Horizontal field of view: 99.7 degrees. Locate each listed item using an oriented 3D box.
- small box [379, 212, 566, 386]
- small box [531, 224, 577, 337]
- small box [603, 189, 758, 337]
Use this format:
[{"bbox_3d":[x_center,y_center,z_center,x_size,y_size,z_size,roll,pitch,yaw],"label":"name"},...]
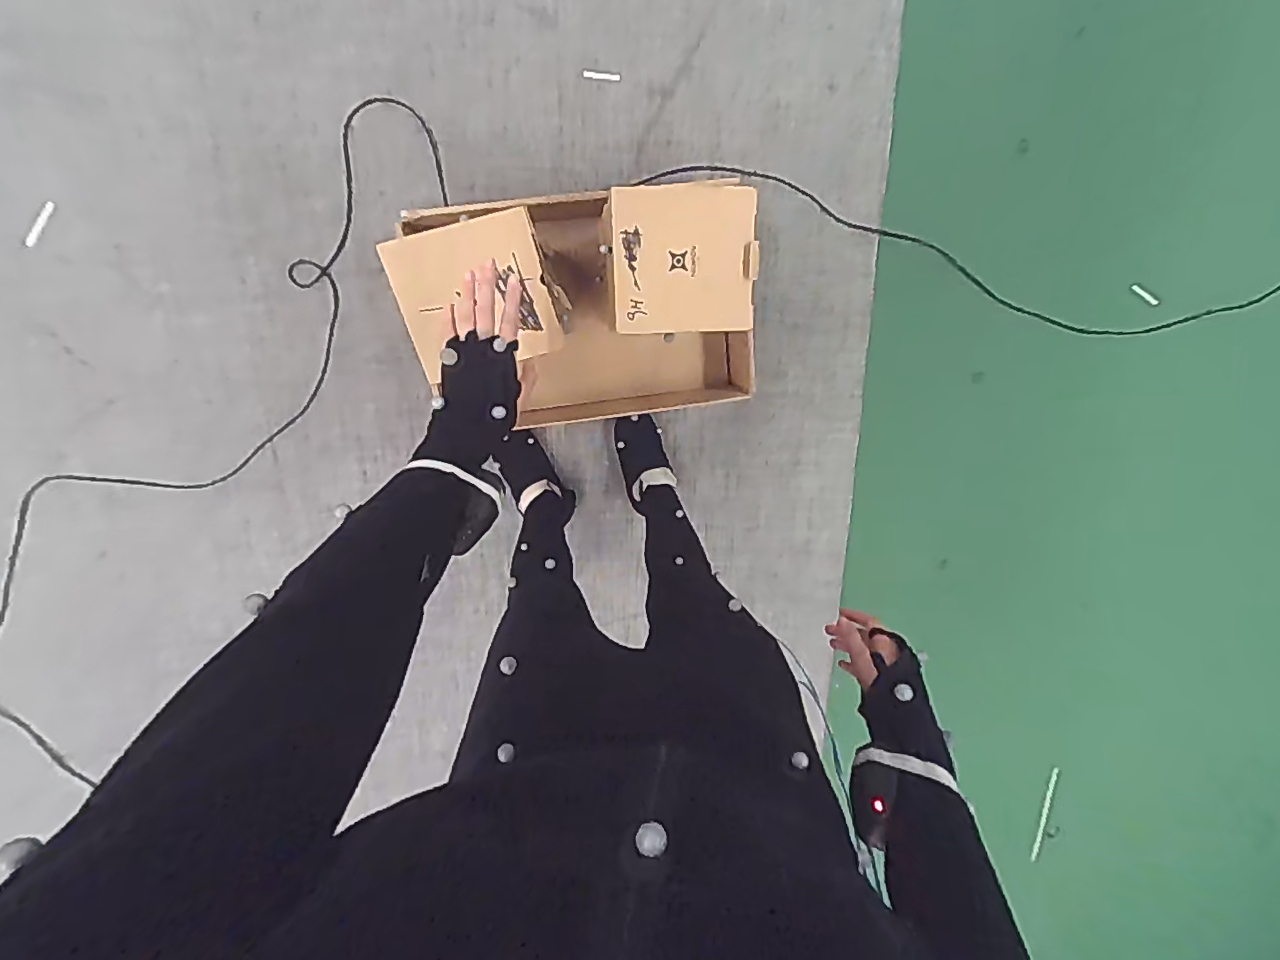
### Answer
[{"bbox_3d":[-0.205,-0.236,0.713,0.179,0.176,0.168,-16,109,-2],"label":"small box"},{"bbox_3d":[-0.215,-0.288,0.869,0.179,0.176,0.168,-23,109,0],"label":"small box"},{"bbox_3d":[0.044,-0.281,0.725,0.179,0.176,0.168,-3,107,-5],"label":"small box"}]
